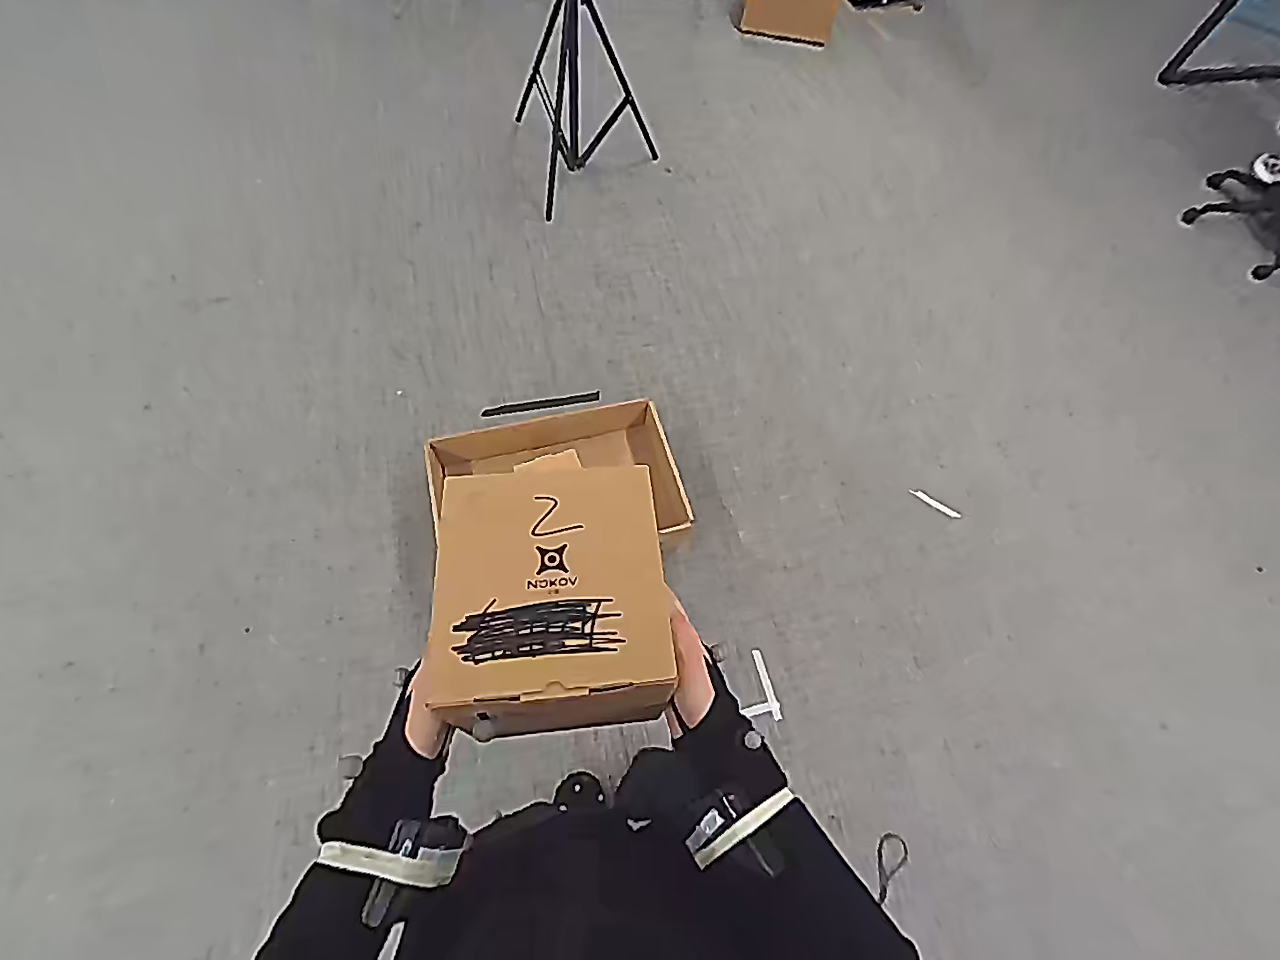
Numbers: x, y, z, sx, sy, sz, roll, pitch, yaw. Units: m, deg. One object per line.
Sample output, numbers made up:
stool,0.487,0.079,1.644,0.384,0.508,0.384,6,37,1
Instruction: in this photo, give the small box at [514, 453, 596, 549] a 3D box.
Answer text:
small box,-0.223,0.058,1.418,0.168,0.176,0.179,-18,68,-13
